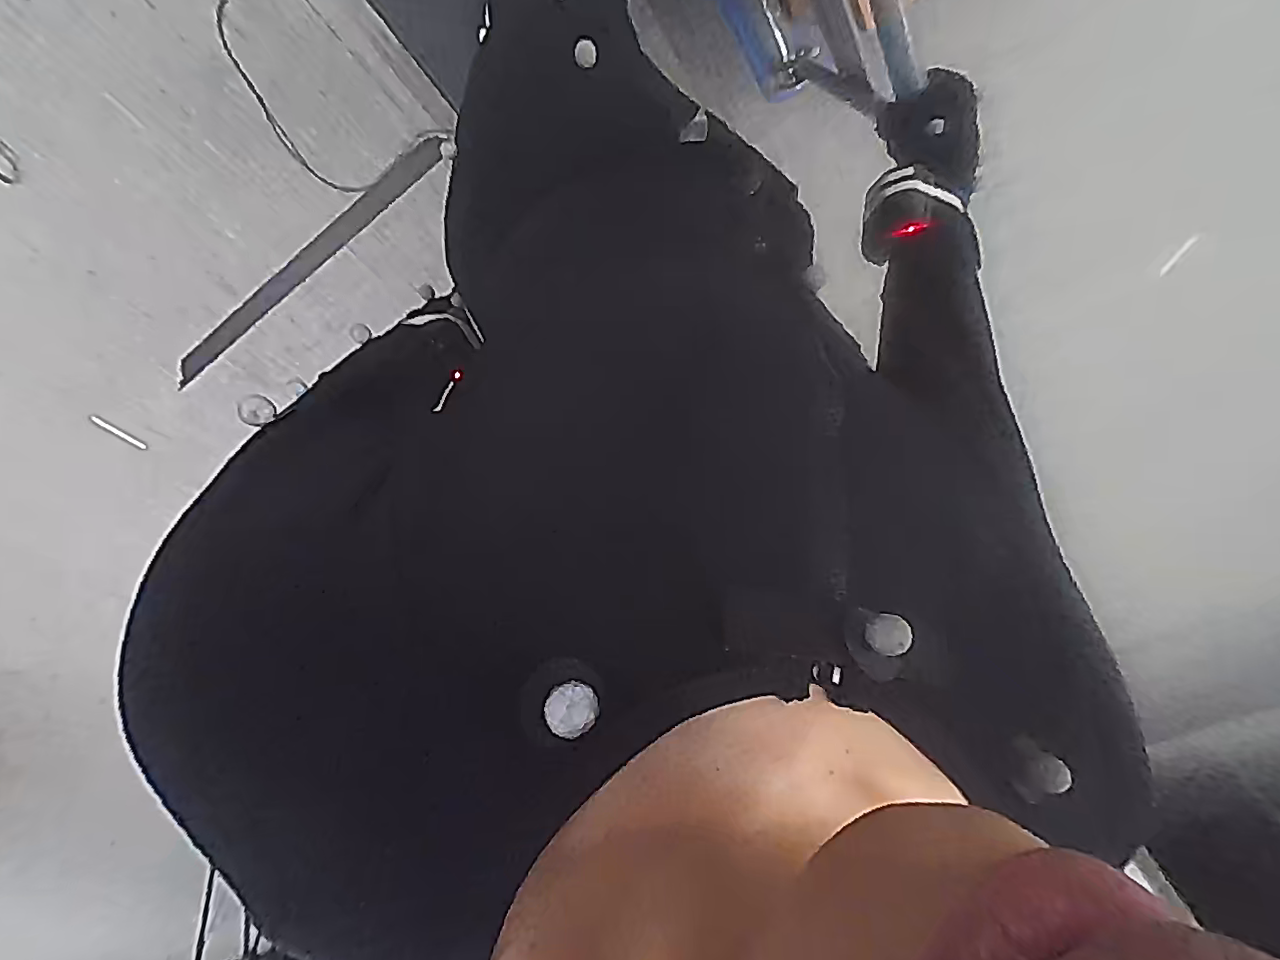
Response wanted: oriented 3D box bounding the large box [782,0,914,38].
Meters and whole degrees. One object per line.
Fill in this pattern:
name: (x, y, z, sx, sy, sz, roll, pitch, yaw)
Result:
large box: (0.309, -0.913, 0.713, 0.320, 0.320, 0.408, -30, 131, 18)
